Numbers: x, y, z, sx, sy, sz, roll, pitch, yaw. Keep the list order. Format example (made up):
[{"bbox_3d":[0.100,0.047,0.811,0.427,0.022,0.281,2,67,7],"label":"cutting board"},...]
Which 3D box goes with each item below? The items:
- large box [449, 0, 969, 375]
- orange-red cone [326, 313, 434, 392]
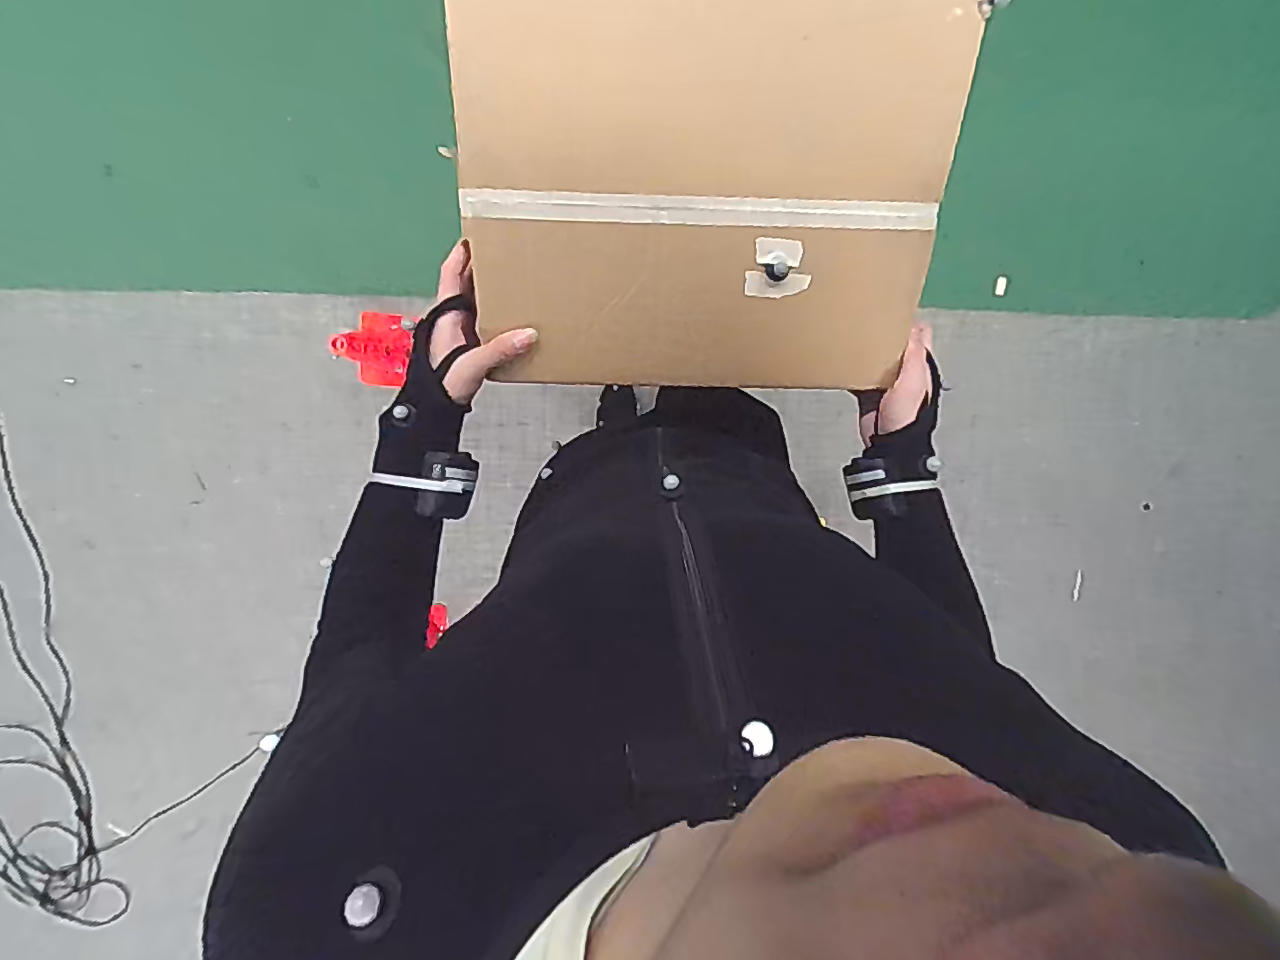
[{"bbox_3d":[0.045,-0.309,0.600,0.408,0.320,0.320,0,117,-4],"label":"large box"},{"bbox_3d":[-0.672,-0.325,1.336,0.199,0.360,0.198,8,99,-4],"label":"orange-red cone"}]
